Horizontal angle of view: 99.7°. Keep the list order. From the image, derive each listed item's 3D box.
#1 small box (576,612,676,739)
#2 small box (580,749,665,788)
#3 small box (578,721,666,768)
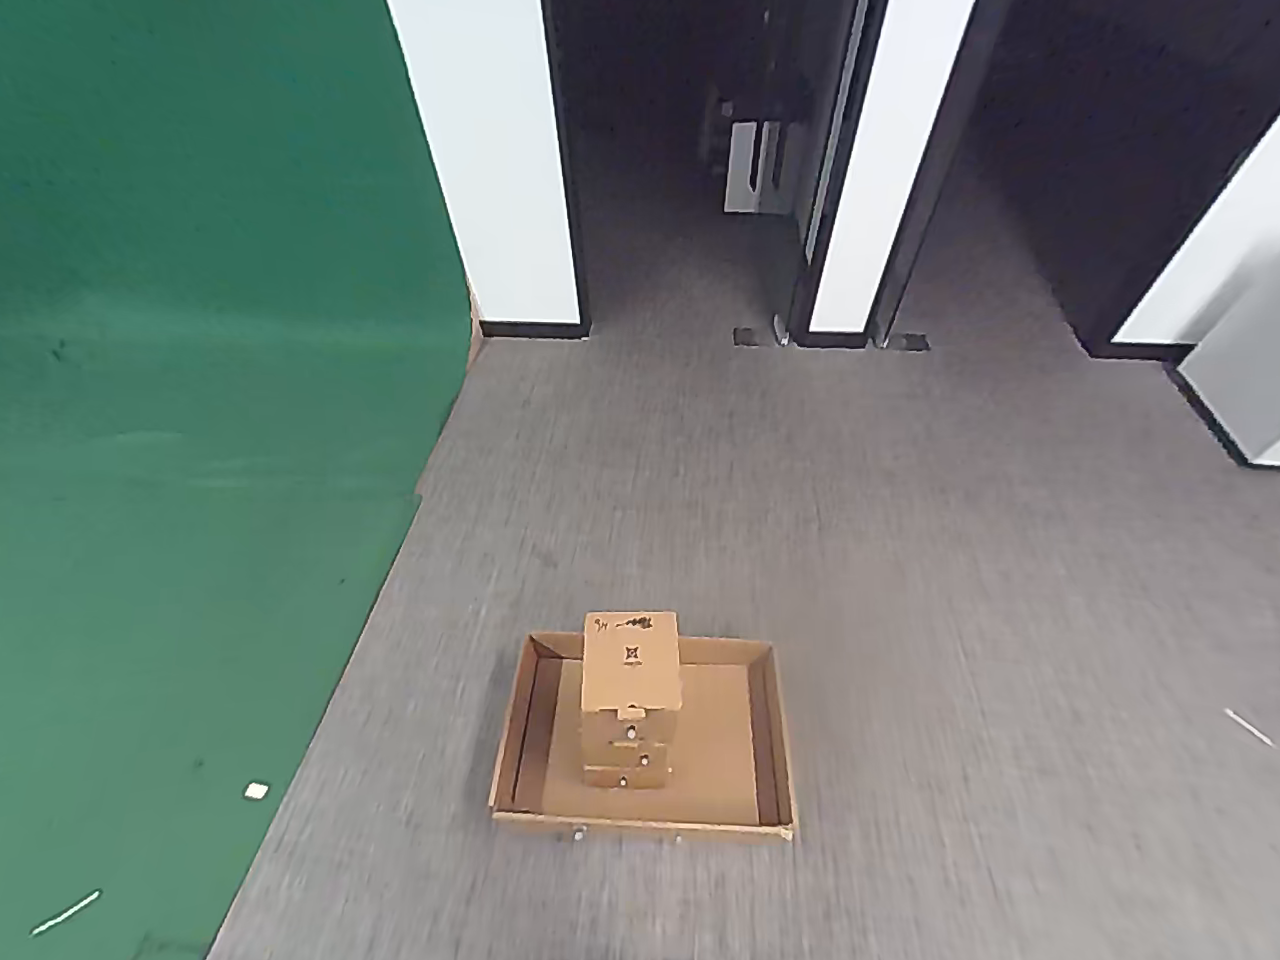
[{"bbox_3d":[-0.020,0.359,0.981,0.168,0.176,0.179,1,49,0],"label":"small box"},{"bbox_3d":[-0.033,0.582,1.216,0.179,0.176,0.168,0,48,3],"label":"small box"},{"bbox_3d":[-0.029,0.470,1.101,0.168,0.176,0.179,3,47,1],"label":"small box"}]
